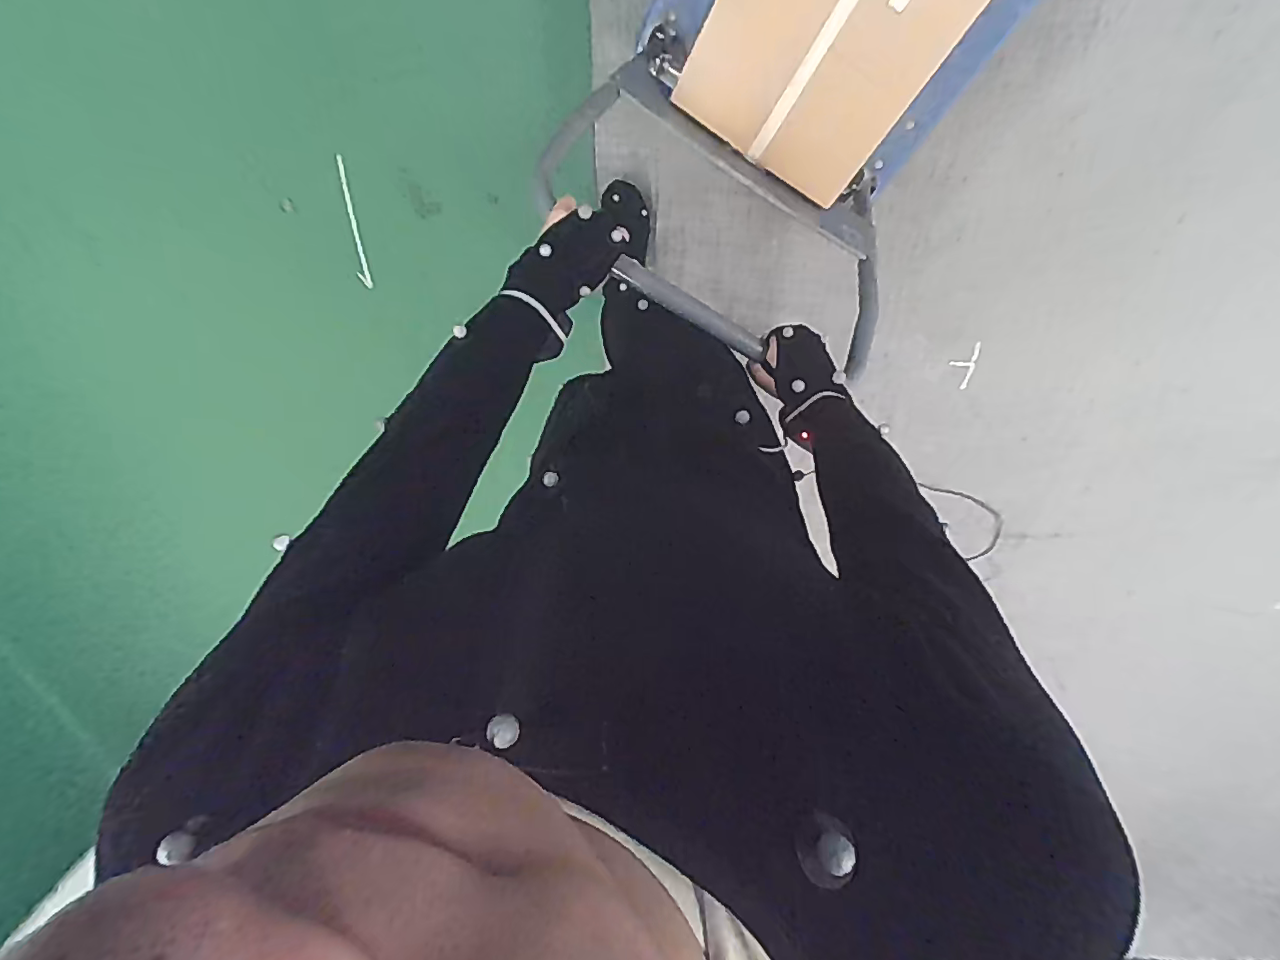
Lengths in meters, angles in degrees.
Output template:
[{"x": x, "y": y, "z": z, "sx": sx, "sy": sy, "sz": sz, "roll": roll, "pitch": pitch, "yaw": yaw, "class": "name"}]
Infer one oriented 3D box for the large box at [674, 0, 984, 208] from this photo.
[{"x": 0.305, "y": -0.741, "z": 0.858, "sx": 0.320, "sy": 0.320, "sz": 0.408, "roll": 29, "pitch": 135, "yaw": -11, "class": "large box"}]
